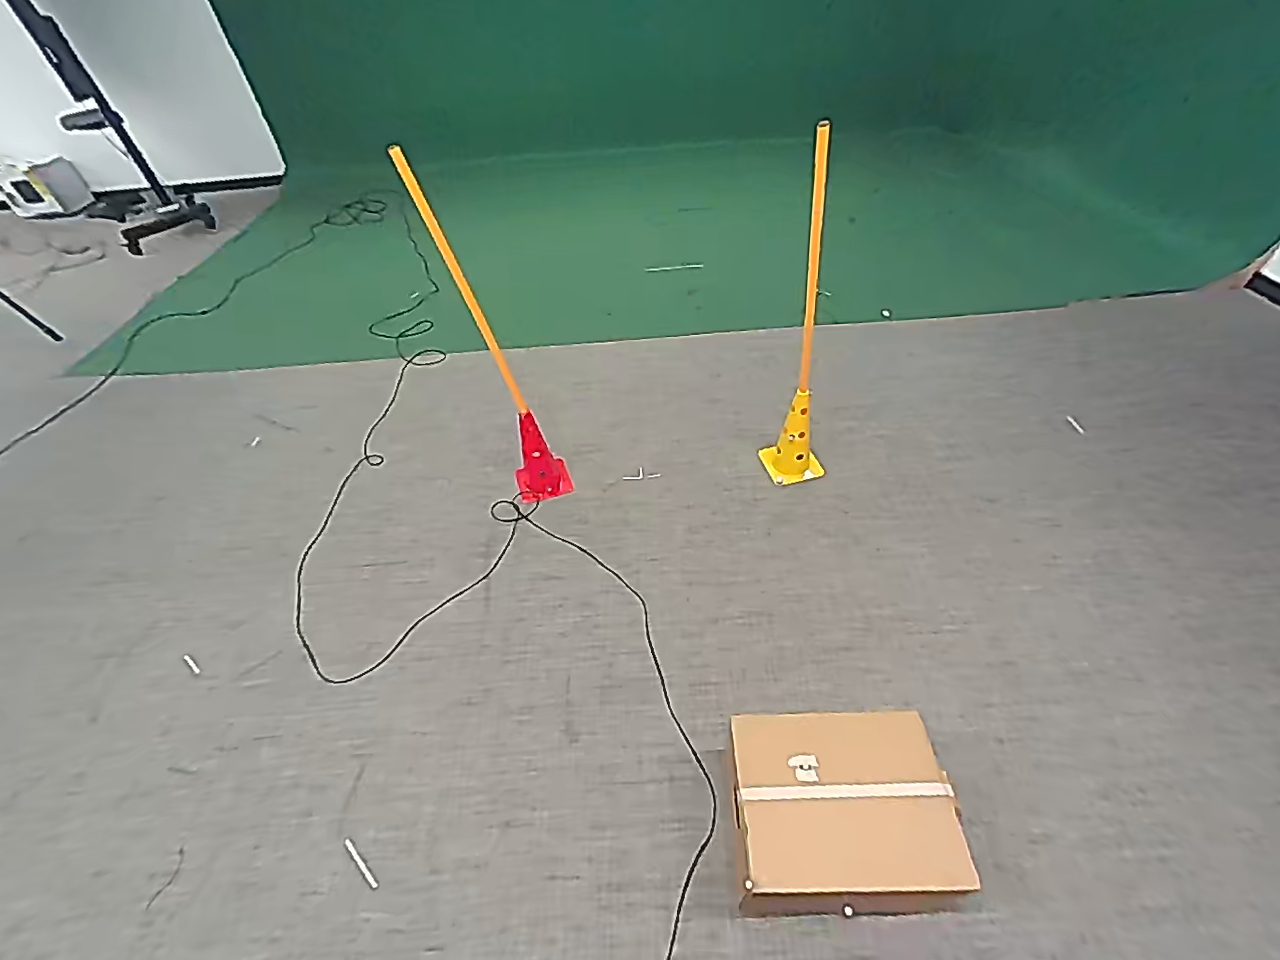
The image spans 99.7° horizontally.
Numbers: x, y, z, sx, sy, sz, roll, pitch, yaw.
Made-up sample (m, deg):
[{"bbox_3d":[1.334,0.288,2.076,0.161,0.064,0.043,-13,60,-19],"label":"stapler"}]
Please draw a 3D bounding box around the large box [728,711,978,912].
[{"bbox_3d":[0.413,0.723,1.171,0.408,0.320,0.320,-4,45,3],"label":"large box"}]
